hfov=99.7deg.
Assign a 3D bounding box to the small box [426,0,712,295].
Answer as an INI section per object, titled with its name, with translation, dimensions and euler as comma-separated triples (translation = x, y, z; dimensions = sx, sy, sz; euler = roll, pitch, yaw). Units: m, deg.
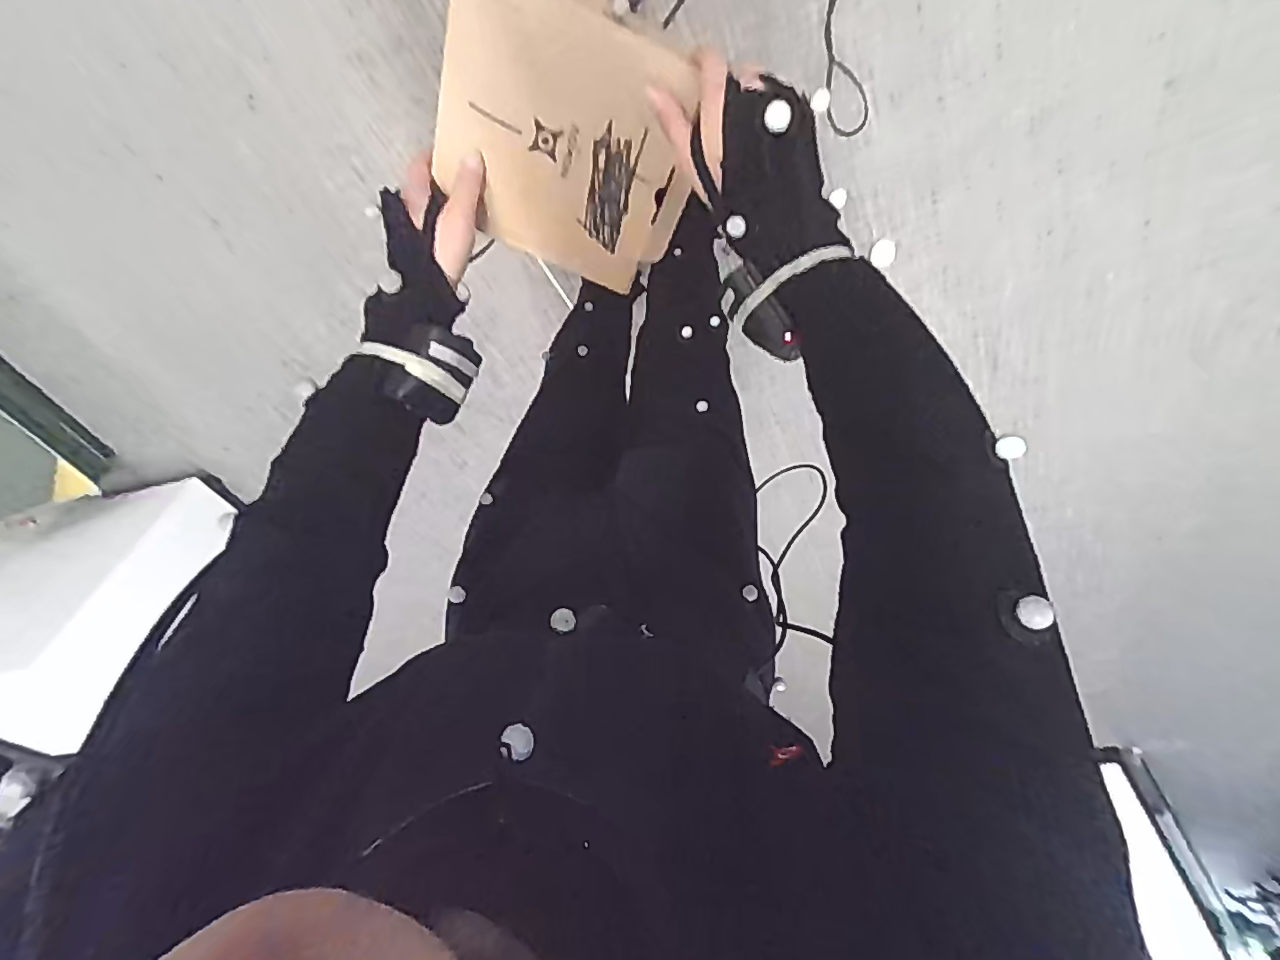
[small box]
translation = -0.052, -0.292, 0.453
dimensions = 0.179, 0.176, 0.168
euler = 21, 130, -10
